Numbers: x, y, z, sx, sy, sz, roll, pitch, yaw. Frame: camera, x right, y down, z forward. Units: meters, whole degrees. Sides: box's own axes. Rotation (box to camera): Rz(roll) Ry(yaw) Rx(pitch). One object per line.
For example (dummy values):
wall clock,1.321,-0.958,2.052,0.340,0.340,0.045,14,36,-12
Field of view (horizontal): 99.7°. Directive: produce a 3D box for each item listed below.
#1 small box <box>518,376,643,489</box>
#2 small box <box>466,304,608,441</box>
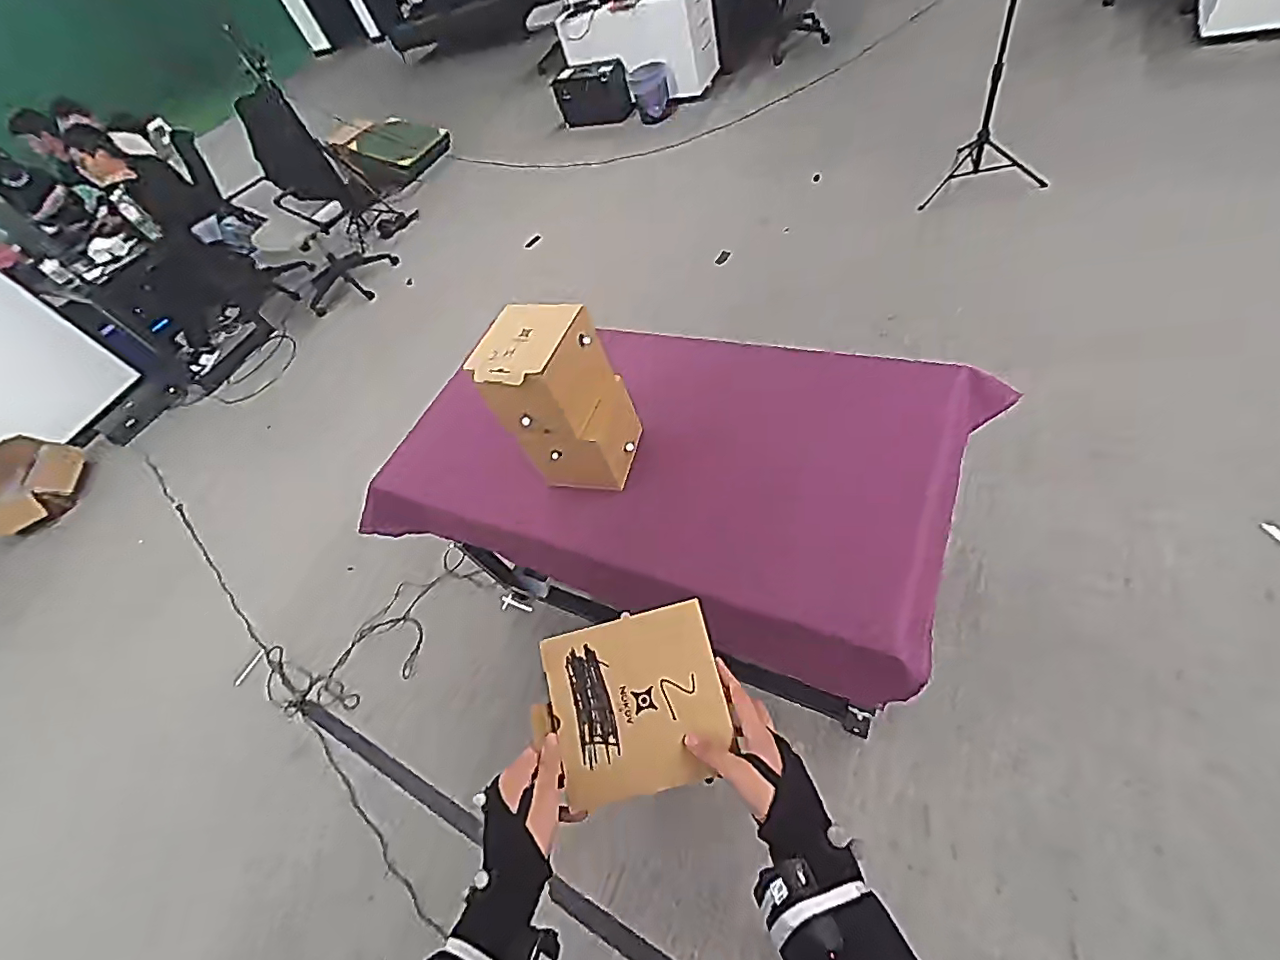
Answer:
small box,-0.113,-0.094,1.103,0.179,0.176,0.168,4,57,21
small box,-0.174,-0.198,0.988,0.168,0.176,0.179,9,59,25
